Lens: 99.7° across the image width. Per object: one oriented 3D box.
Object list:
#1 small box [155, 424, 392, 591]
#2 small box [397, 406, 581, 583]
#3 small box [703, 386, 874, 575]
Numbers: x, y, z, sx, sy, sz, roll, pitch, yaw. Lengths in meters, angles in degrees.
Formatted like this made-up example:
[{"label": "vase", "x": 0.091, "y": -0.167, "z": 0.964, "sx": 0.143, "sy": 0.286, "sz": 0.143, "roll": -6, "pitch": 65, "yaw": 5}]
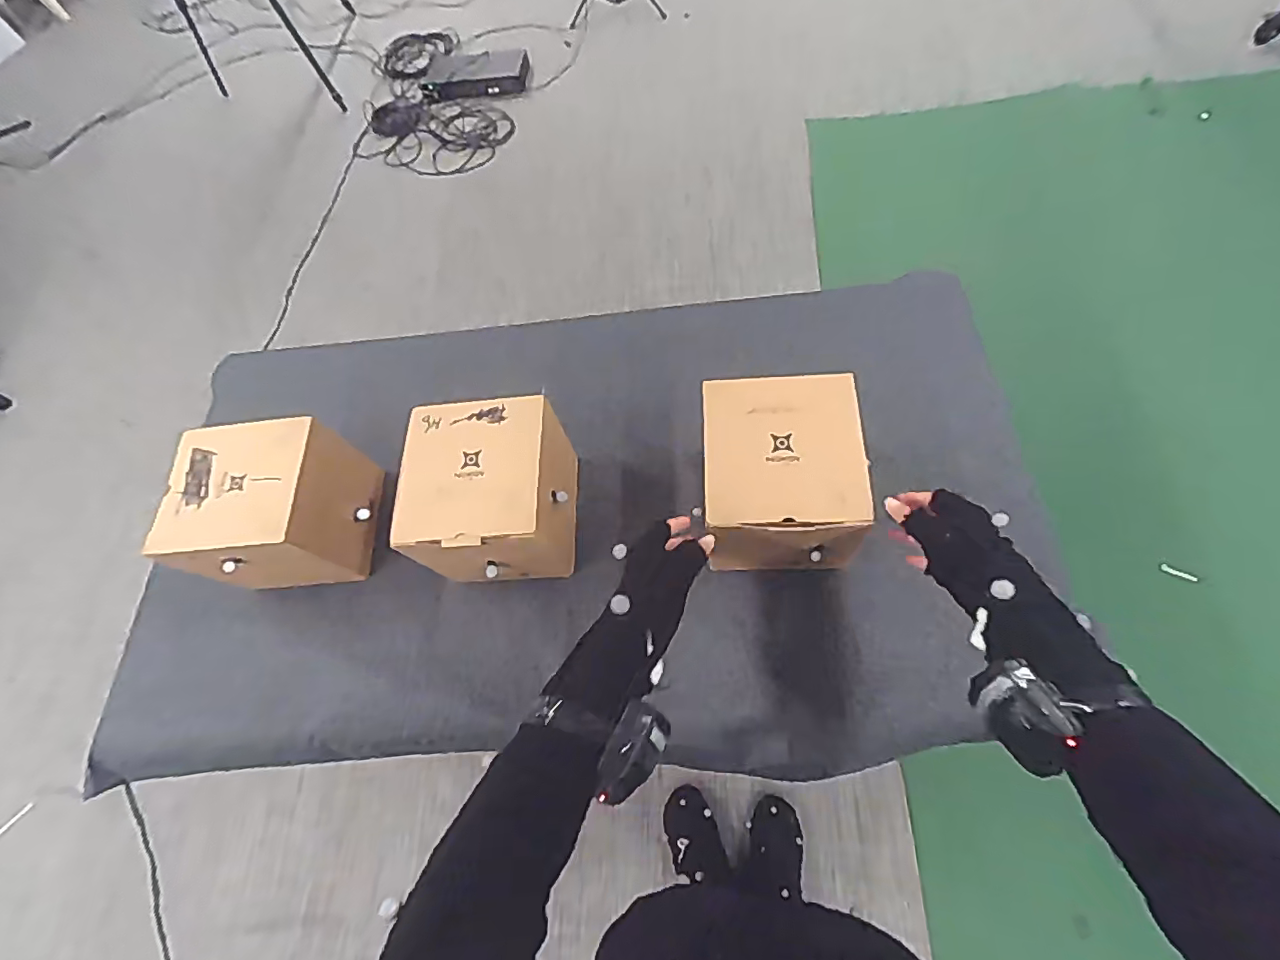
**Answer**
[{"label": "small box", "x": -0.465, "y": 0.046, "z": 0.717, "sx": 0.179, "sy": 0.176, "sz": 0.168, "roll": -5, "pitch": 65, "yaw": 5}, {"label": "small box", "x": -0.174, "y": 0.029, "z": 0.684, "sx": 0.168, "sy": 0.176, "sz": 0.179, "roll": -4, "pitch": 65, "yaw": 7}, {"label": "small box", "x": 0.161, "y": 0.011, "z": 0.644, "sx": 0.168, "sy": 0.176, "sz": 0.179, "roll": -2, "pitch": 64, "yaw": 6}]
